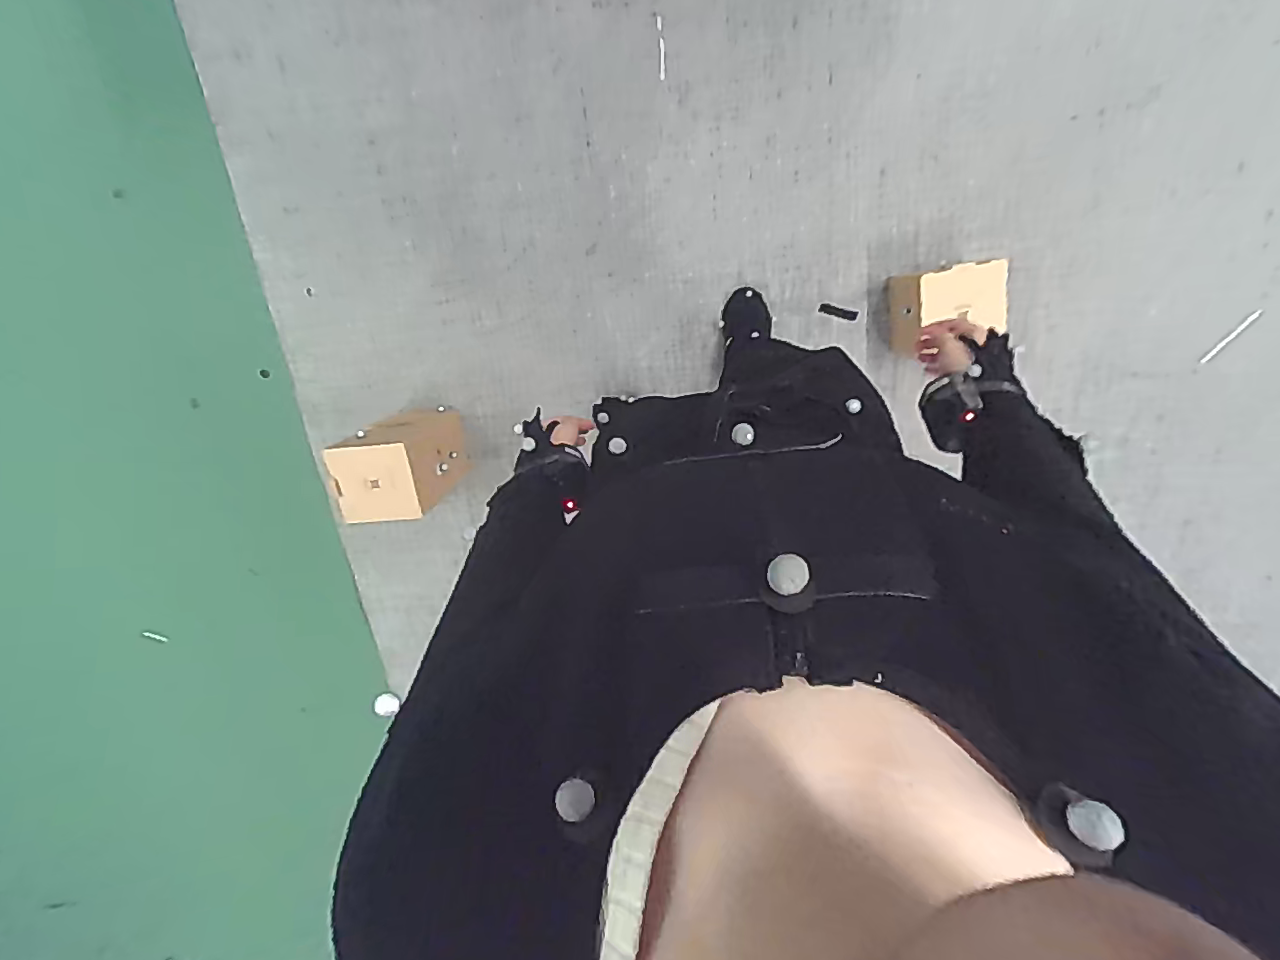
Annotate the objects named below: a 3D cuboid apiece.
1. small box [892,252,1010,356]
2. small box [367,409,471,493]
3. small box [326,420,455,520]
[{"bbox_3d":[0.650,-0.369,1.147,0.168,0.176,0.179,-9,107,7],"label":"small box"},{"bbox_3d":[-0.533,-0.075,1.327,0.168,0.176,0.179,-2,110,5],"label":"small box"},{"bbox_3d":[-0.529,-0.026,1.171,0.179,0.176,0.168,-5,110,5],"label":"small box"}]
